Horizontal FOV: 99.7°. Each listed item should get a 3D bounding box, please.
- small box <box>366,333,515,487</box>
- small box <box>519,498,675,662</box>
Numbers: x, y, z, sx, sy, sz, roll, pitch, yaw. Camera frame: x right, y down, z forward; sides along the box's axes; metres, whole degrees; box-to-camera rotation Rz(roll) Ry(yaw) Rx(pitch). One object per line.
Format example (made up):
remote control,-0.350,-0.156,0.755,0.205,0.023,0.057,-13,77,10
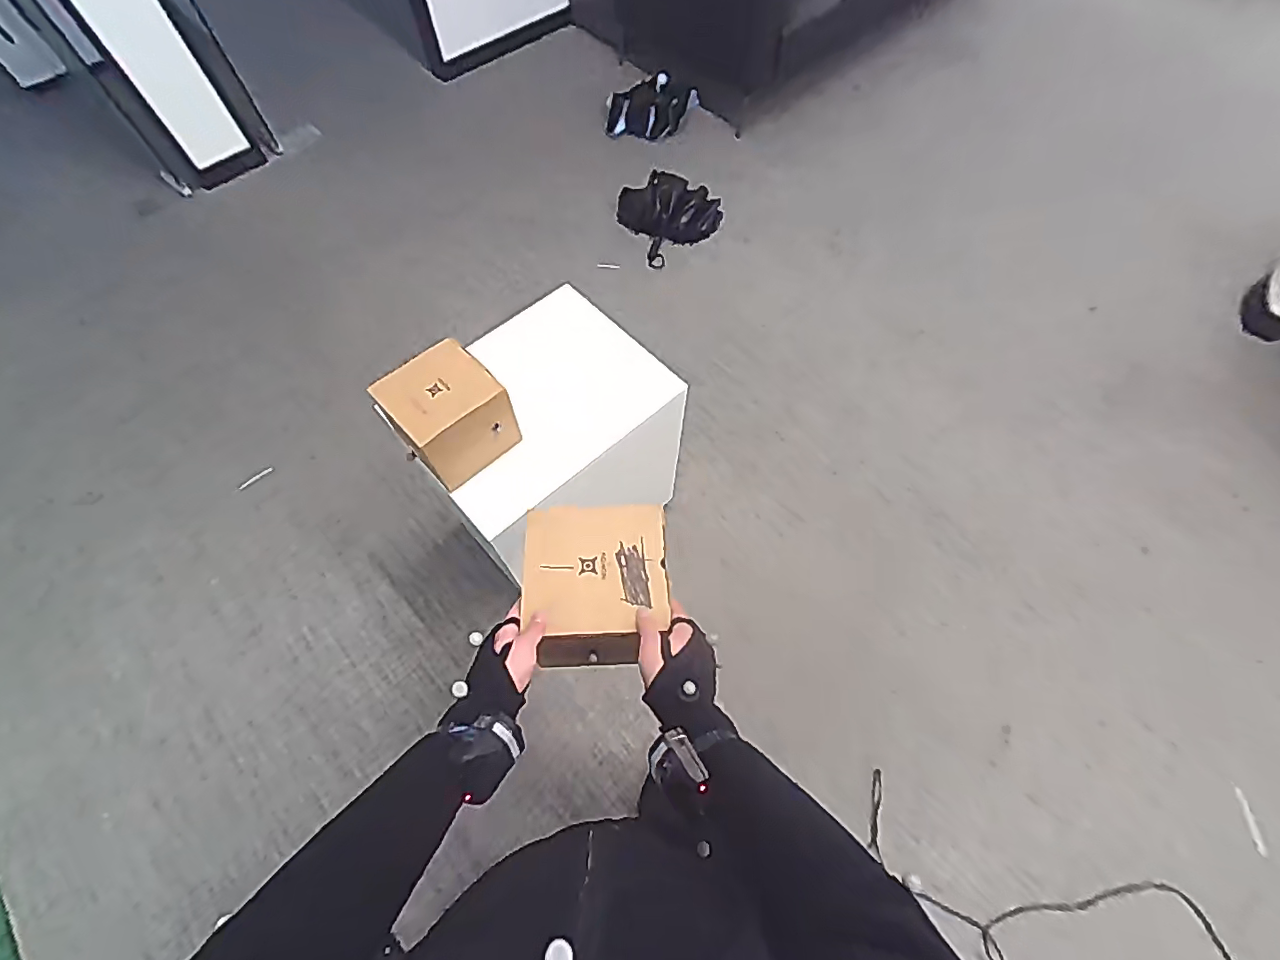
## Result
small box,-0.343,-0.122,0.972,0.179,0.176,0.168,-40,70,-20
small box,-0.053,0.135,0.708,0.179,0.176,0.168,-1,59,-3
